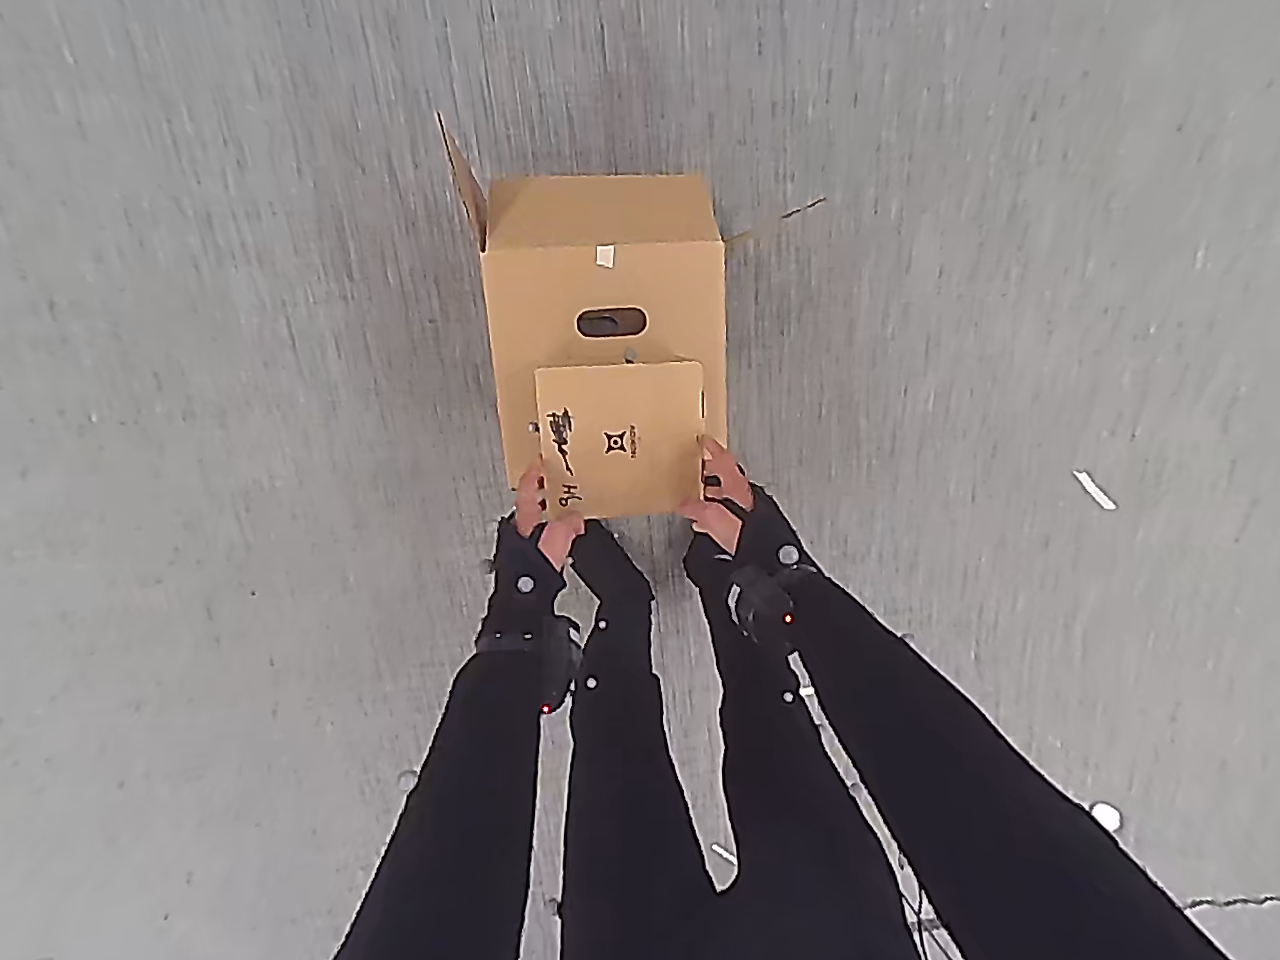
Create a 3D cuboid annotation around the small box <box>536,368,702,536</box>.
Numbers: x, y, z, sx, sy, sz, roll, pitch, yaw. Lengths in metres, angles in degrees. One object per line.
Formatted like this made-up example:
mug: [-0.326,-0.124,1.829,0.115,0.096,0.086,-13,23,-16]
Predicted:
small box: [-0.029,-0.044,0.657,0.179,0.176,0.168,-4,106,-6]
